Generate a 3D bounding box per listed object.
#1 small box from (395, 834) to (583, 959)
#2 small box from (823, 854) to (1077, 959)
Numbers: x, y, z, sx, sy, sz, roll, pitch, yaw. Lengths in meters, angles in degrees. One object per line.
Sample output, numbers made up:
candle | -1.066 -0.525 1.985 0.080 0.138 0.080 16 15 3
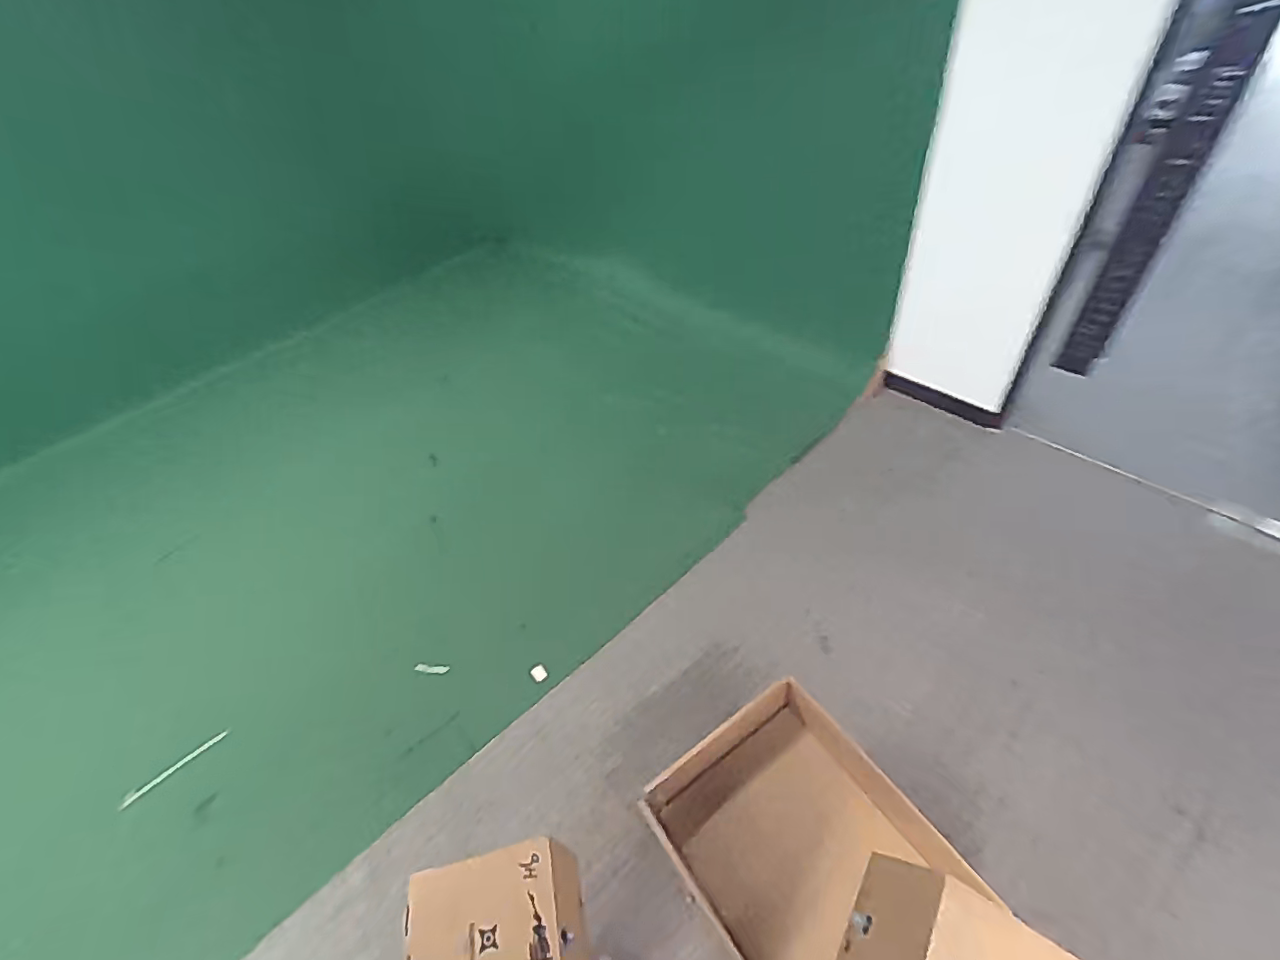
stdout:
small box | -0.175 0.560 0.656 0.179 0.176 0.168 -15 48 -3
small box | 0.313 0.514 0.545 0.179 0.176 0.168 30 63 12
